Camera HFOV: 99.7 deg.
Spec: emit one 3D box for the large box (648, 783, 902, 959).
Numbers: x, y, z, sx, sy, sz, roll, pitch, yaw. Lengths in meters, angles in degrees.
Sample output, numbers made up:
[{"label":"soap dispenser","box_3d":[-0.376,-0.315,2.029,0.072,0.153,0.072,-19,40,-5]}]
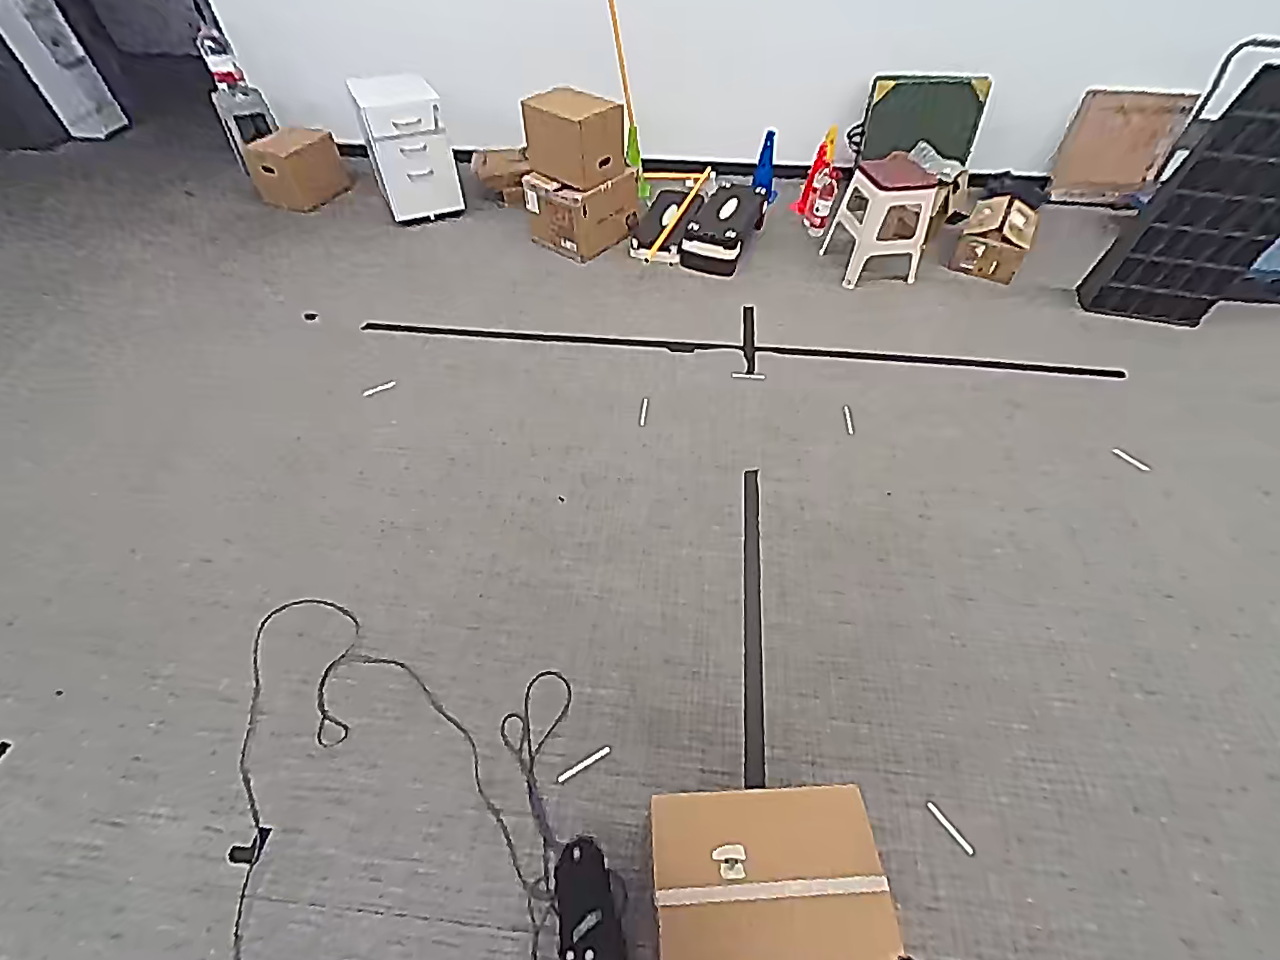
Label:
[{"label":"large box","box_3d":[0.226,0.807,1.056,0.408,0.320,0.320,-2,50,-2]}]
